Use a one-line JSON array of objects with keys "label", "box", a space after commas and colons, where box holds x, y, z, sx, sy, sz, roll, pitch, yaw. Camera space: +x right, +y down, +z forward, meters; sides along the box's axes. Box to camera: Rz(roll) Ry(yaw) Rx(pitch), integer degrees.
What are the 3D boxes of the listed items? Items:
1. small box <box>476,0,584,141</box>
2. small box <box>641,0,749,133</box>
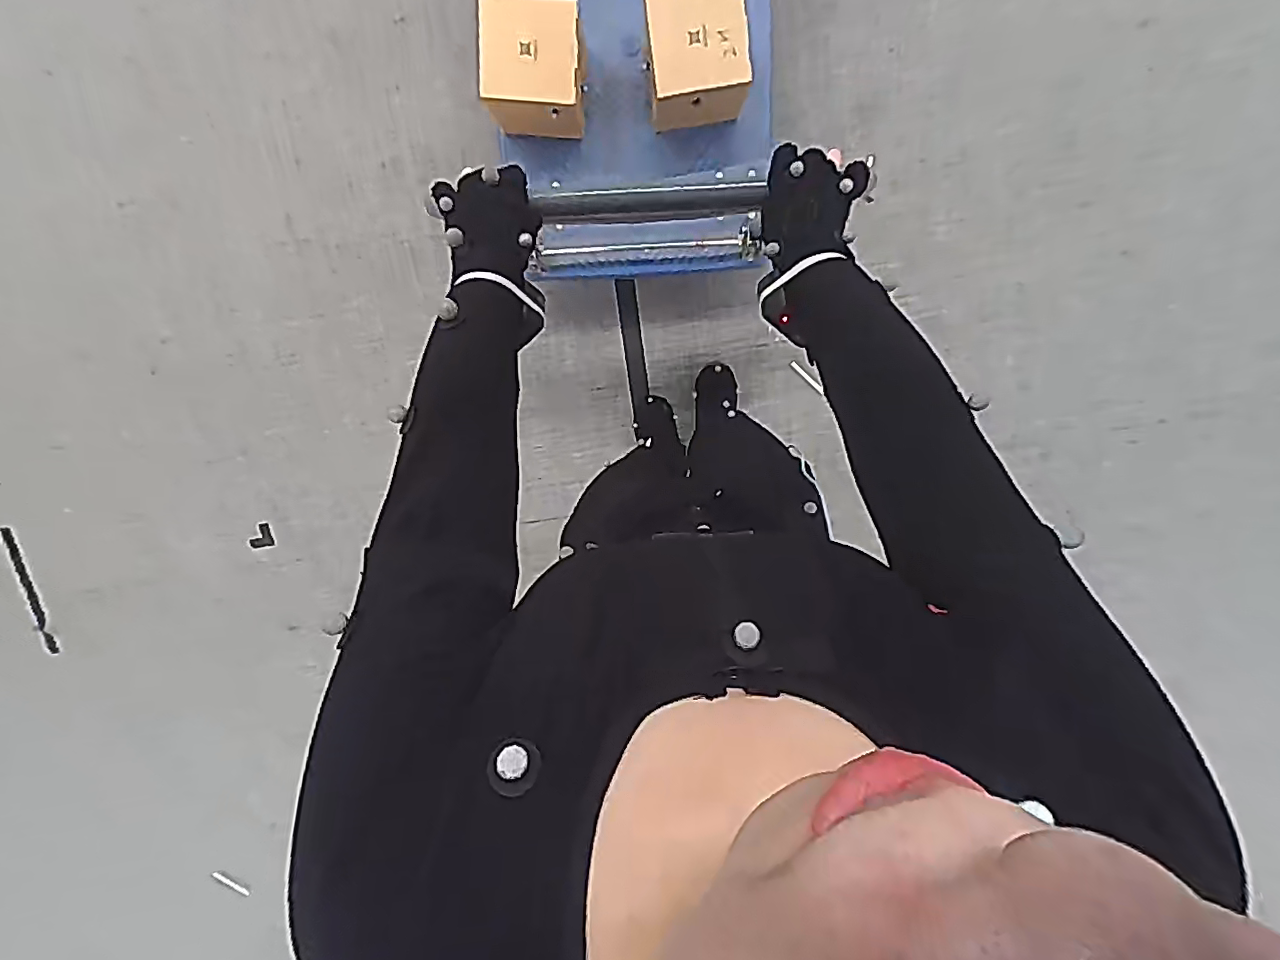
[{"label": "small box", "box": [-0.203, -0.772, 1.035, 0.179, 0.176, 0.168, 2, 104, -2]}, {"label": "small box", "box": [0.100, -0.790, 1.030, 0.179, 0.176, 0.168, -8, 104, 2]}]
